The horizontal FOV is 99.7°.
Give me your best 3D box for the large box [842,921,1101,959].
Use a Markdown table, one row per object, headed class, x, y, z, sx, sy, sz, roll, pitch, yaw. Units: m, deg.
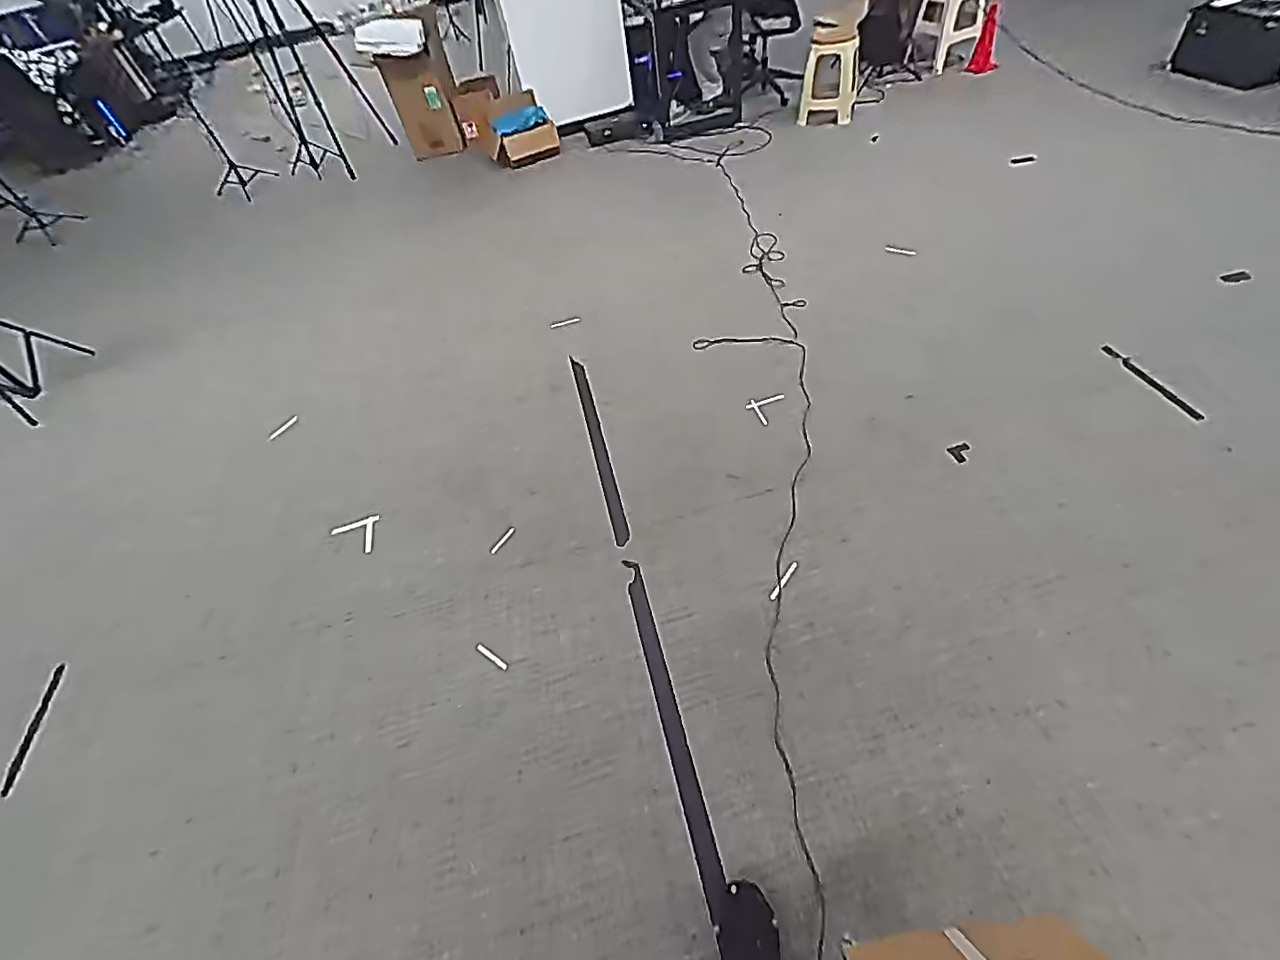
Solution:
| class | x | y | z | sx | sy | sz | roll | pitch | yaw |
| --- | --- | --- | --- | --- | --- | --- | --- | --- | --- |
| large box | 0.453 | 0.748 | 0.555 | 0.320 | 0.408 | 0.320 | -7 | 73 | 2 |
